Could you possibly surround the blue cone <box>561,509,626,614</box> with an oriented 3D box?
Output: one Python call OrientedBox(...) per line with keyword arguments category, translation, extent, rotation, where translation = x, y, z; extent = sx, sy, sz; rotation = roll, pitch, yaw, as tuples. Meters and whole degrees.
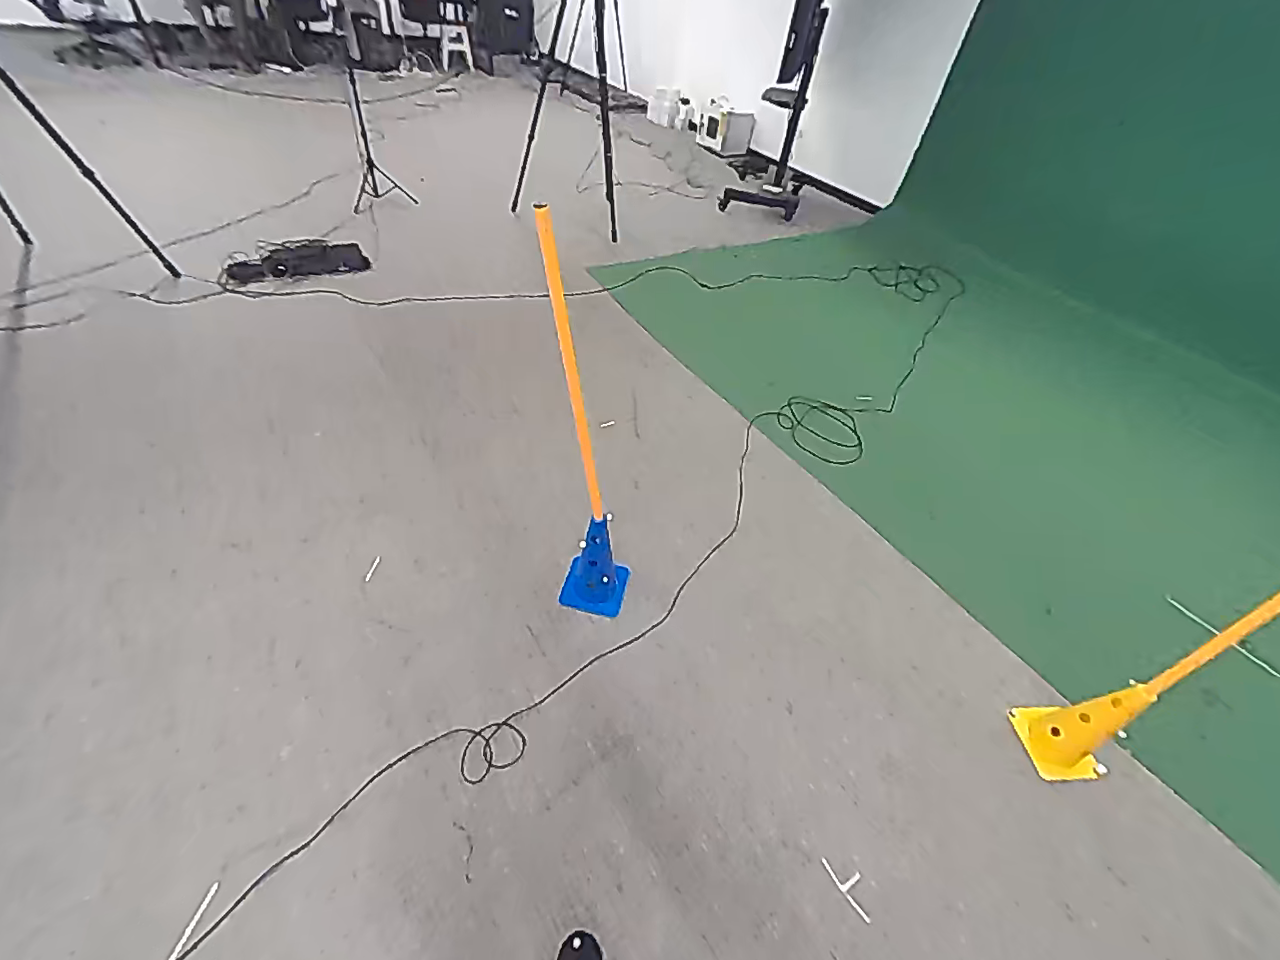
OrientedBox(category="blue cone", translation=(-0.137, 0.232, 1.640), extent=(0.193, 0.380, 0.192), rotation=(11, 46, 4))
